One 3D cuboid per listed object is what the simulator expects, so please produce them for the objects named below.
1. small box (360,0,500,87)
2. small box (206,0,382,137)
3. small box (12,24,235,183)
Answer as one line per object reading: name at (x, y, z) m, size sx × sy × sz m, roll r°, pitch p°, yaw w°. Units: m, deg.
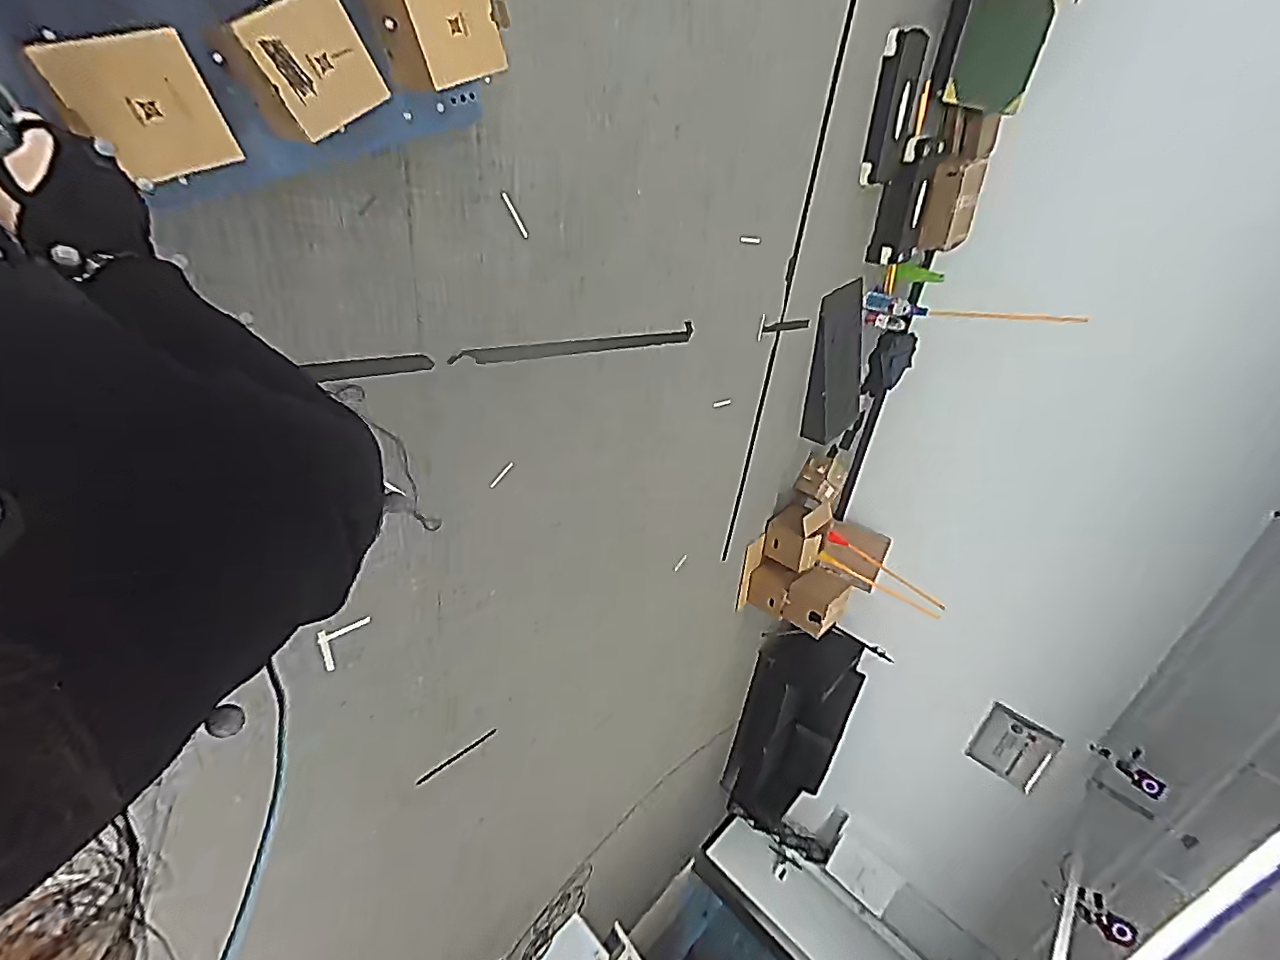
small box at (-0.410, -0.877, 1.042) m, size 0.179 × 0.176 × 0.168 m, roll -41°, pitch 141°, yaw -26°
small box at (-0.592, -0.713, 0.923) m, size 0.179 × 0.176 × 0.168 m, roll -48°, pitch 143°, yaw -20°
small box at (-0.767, -0.561, 0.809) m, size 0.179 × 0.176 × 0.168 m, roll -39°, pitch 140°, yaw -29°
